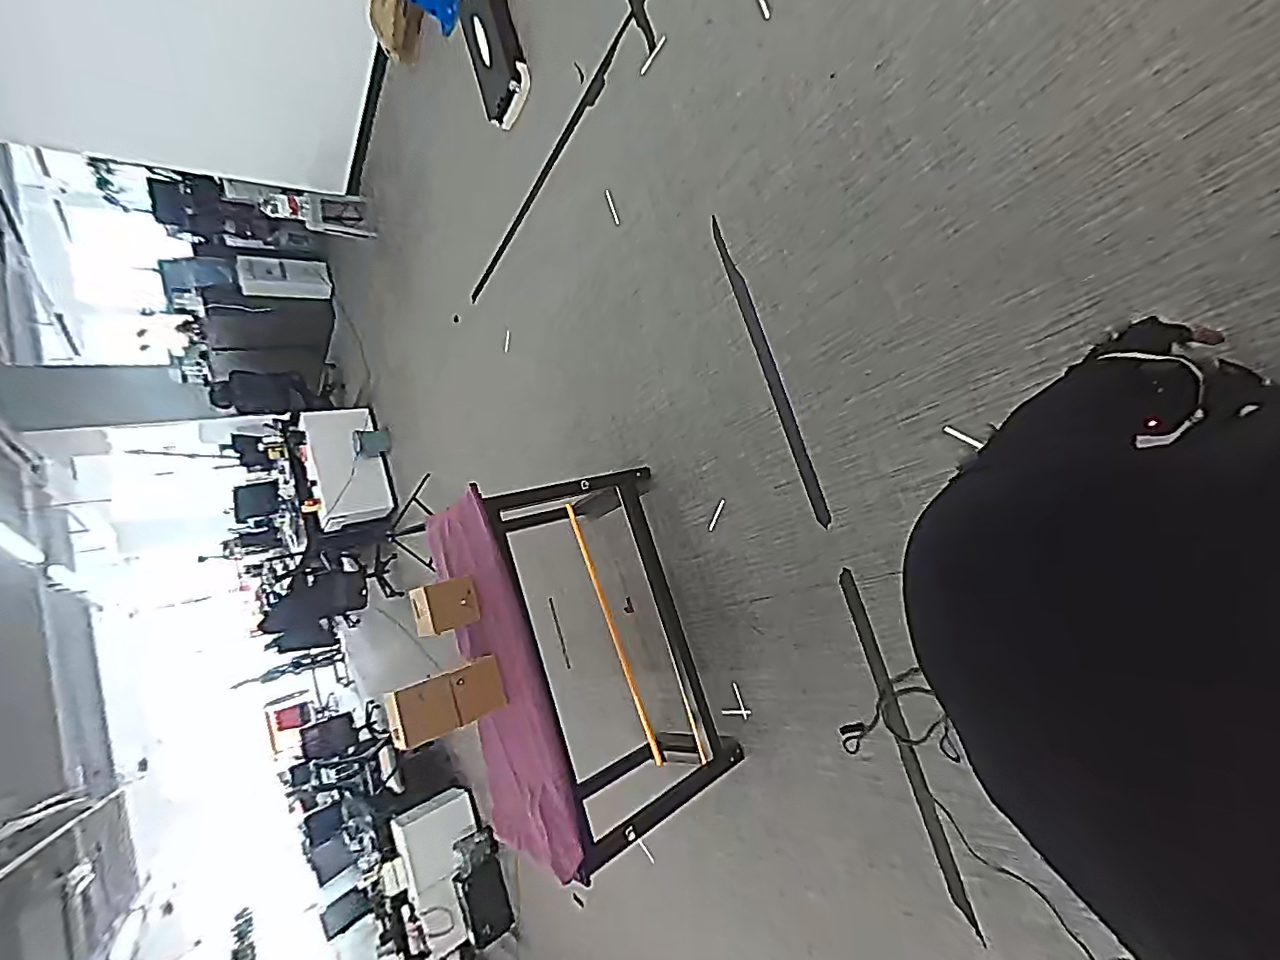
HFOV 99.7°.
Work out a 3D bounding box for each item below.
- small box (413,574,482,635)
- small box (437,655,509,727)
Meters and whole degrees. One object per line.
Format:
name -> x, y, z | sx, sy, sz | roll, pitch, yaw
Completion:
small box -> -0.671, 0.433, 1.887 | 0.179, 0.176, 0.168 | -23, 82, 50
small box -> -0.562, 0.709, 1.825 | 0.168, 0.176, 0.179 | -29, 76, 50
